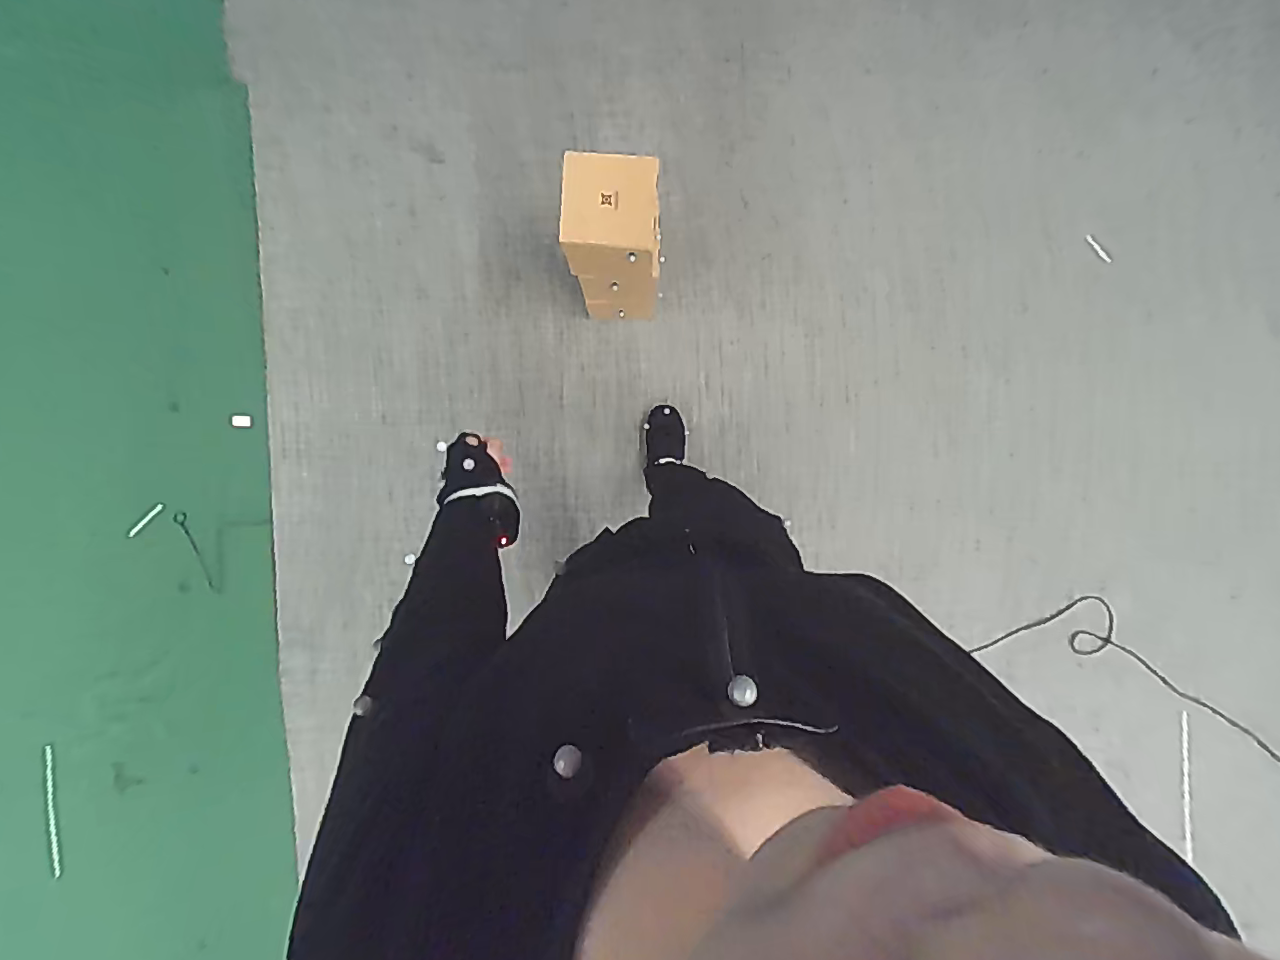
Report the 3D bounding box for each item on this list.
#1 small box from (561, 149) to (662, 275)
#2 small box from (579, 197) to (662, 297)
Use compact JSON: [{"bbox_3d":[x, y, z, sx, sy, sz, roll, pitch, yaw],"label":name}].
[{"bbox_3d":[-0.053,-0.516,1.064,0.179,0.176,0.168,4,92,-1],"label":"small box"},{"bbox_3d":[-0.040,-0.522,1.226,0.179,0.176,0.168,1,92,0],"label":"small box"}]
